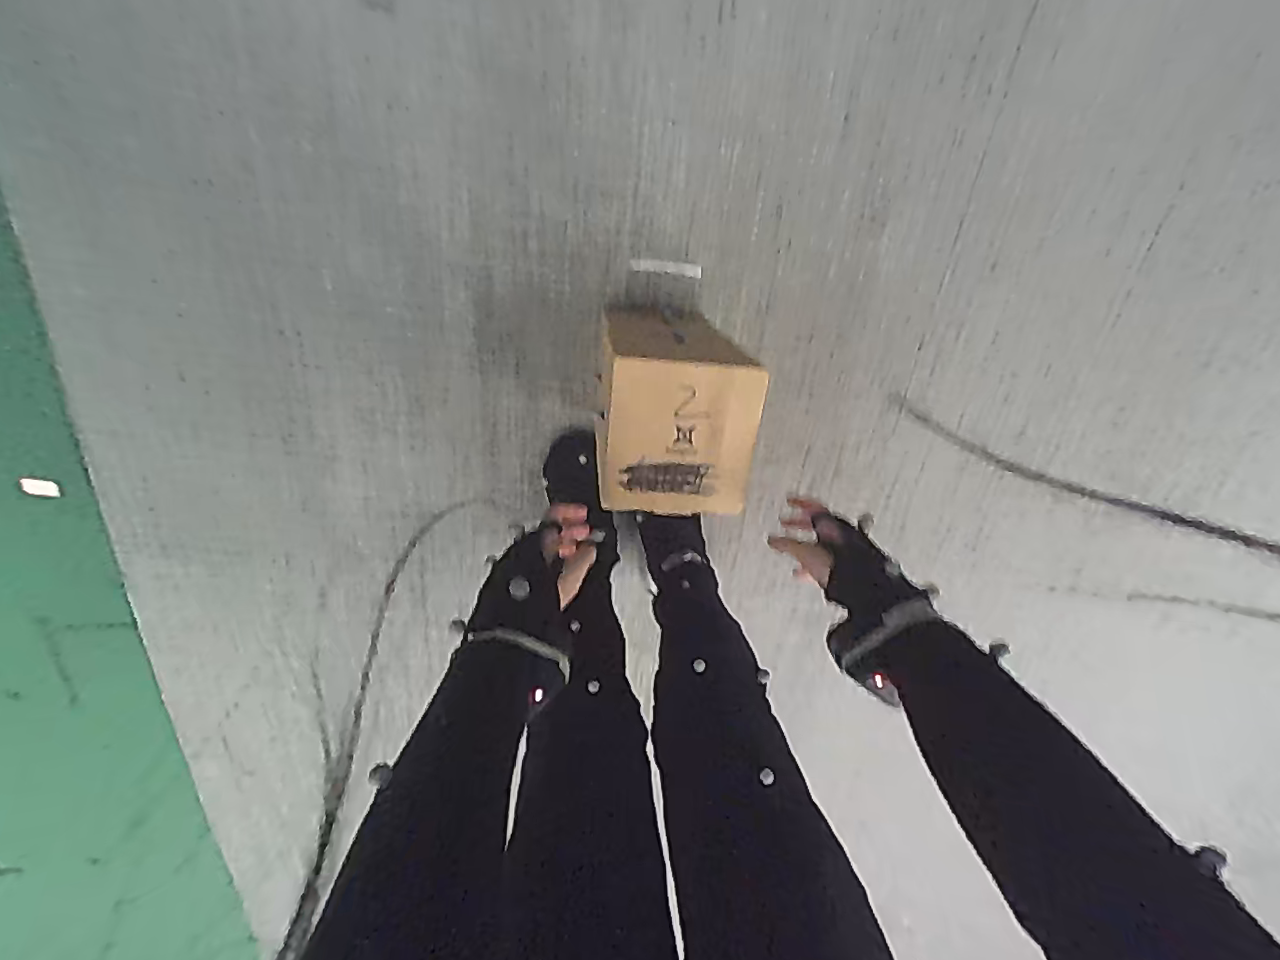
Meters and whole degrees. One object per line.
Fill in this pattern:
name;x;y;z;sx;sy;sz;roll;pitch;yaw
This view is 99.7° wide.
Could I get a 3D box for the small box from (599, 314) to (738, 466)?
small box;0.030;-0.139;0.800;0.168;0.176;0.179;5;116;-8
